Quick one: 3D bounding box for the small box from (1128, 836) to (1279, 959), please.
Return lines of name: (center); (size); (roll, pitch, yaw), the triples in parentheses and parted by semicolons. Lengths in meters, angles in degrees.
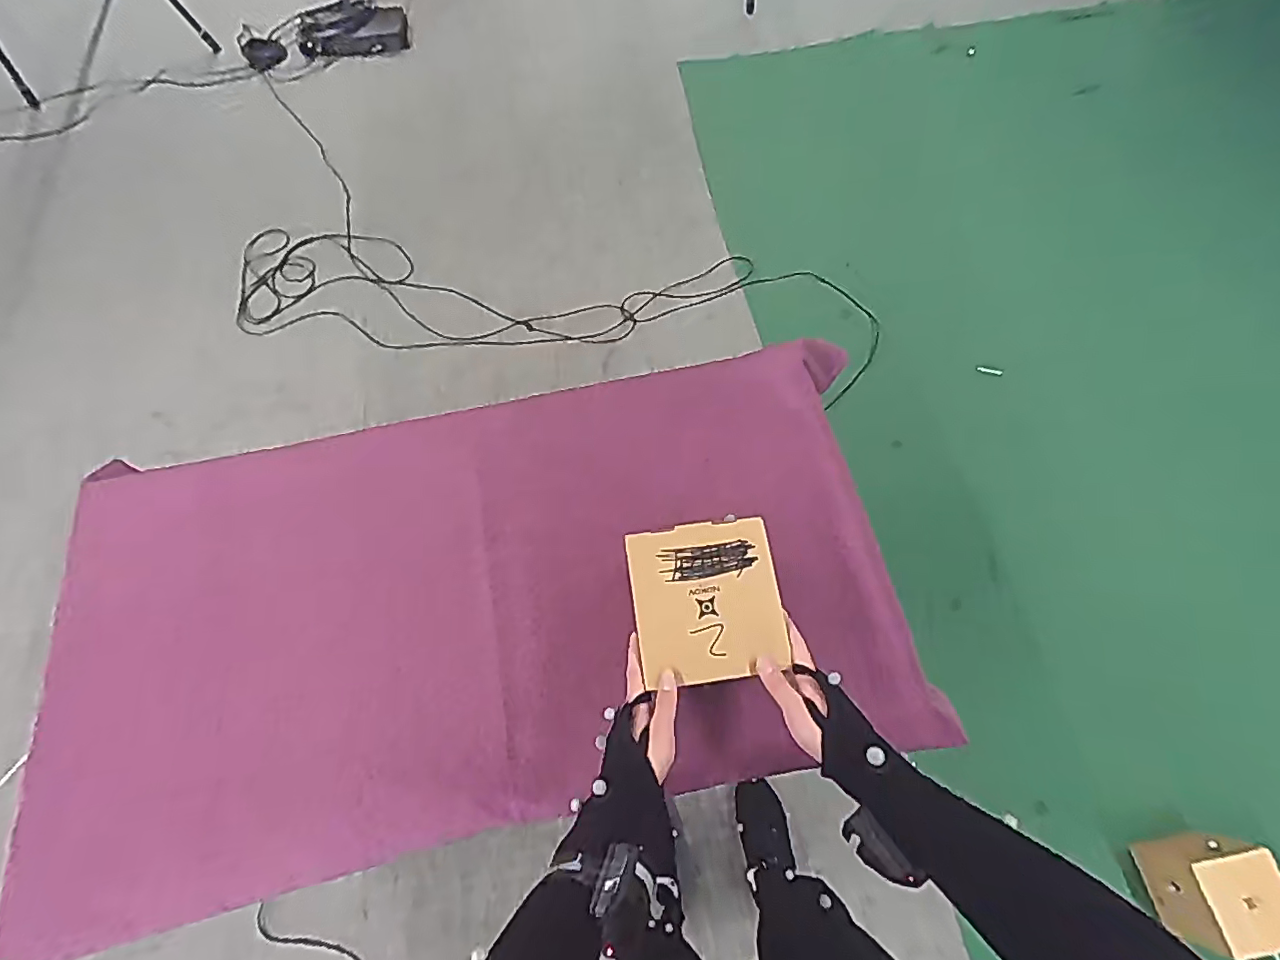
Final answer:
small box: (1.223, 0.897, 1.171); (0.179, 0.176, 0.168); (-9, 67, -4)
